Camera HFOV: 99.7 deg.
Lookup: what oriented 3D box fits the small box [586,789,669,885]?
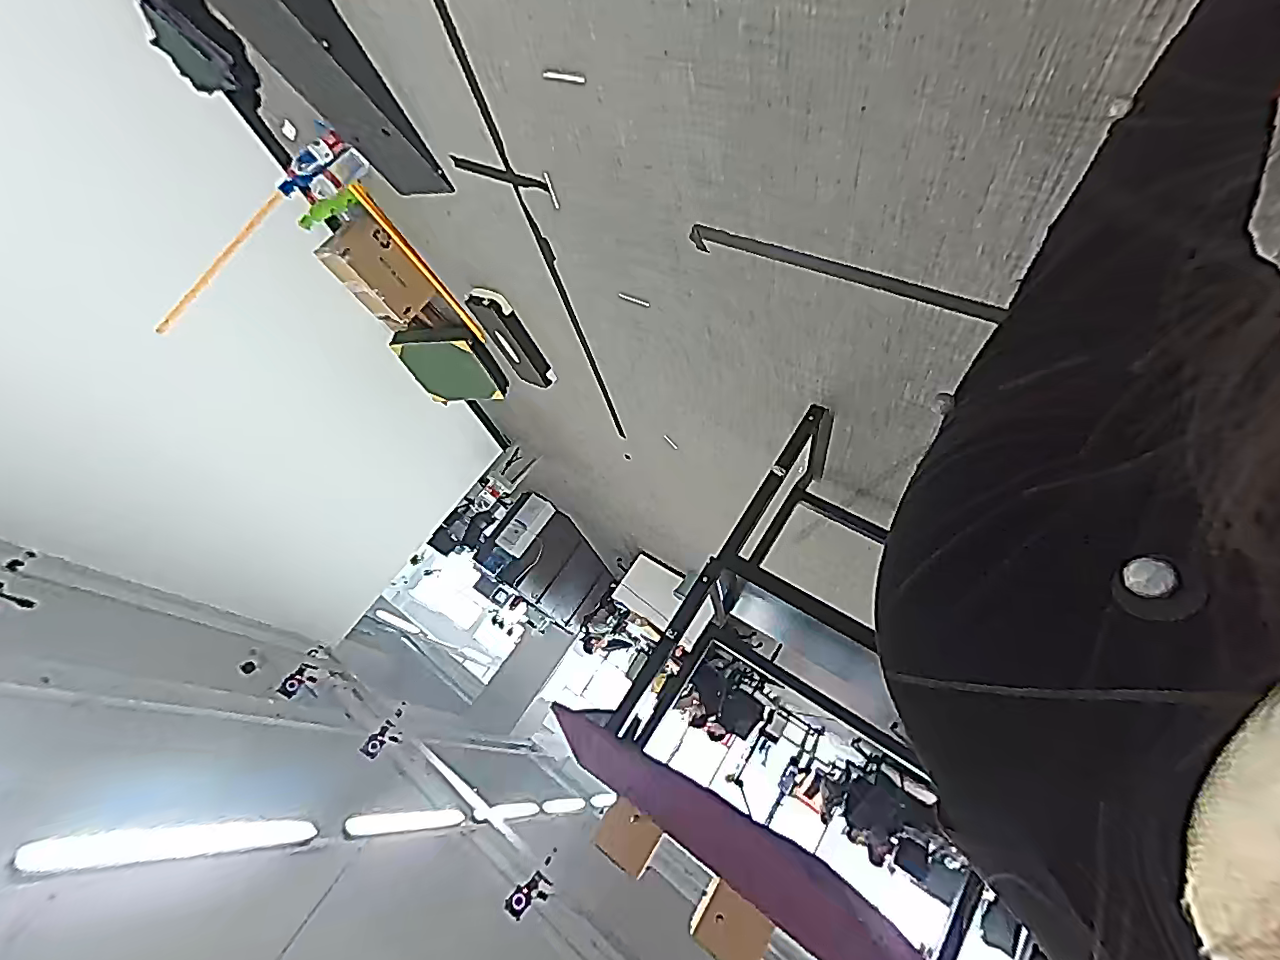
[{"bbox_3d":[-0.033,1.072,1.644,0.179,0.176,0.168,29,162,22],"label":"small box"}]

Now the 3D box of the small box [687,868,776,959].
[{"bbox_3d":[0.245,1.205,1.468,0.179,0.176,0.168,30,162,18],"label":"small box"}]
